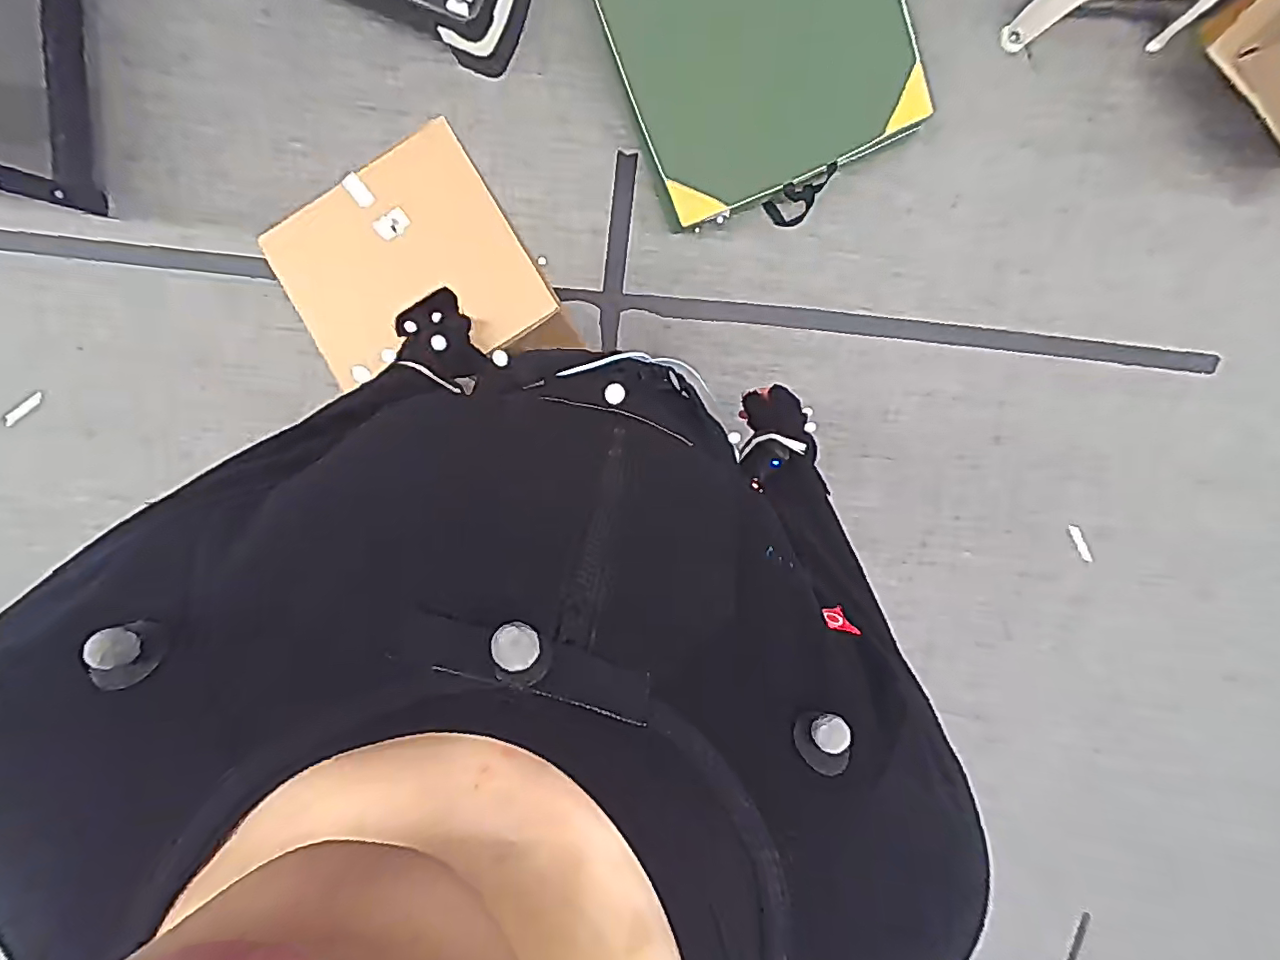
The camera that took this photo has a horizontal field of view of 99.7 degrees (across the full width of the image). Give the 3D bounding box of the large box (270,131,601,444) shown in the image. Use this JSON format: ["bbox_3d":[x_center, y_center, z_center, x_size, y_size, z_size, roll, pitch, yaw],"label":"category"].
[{"bbox_3d":[-0.305,-0.280,0.934,0.320,0.408,0.320,-31,88,4],"label":"large box"}]
